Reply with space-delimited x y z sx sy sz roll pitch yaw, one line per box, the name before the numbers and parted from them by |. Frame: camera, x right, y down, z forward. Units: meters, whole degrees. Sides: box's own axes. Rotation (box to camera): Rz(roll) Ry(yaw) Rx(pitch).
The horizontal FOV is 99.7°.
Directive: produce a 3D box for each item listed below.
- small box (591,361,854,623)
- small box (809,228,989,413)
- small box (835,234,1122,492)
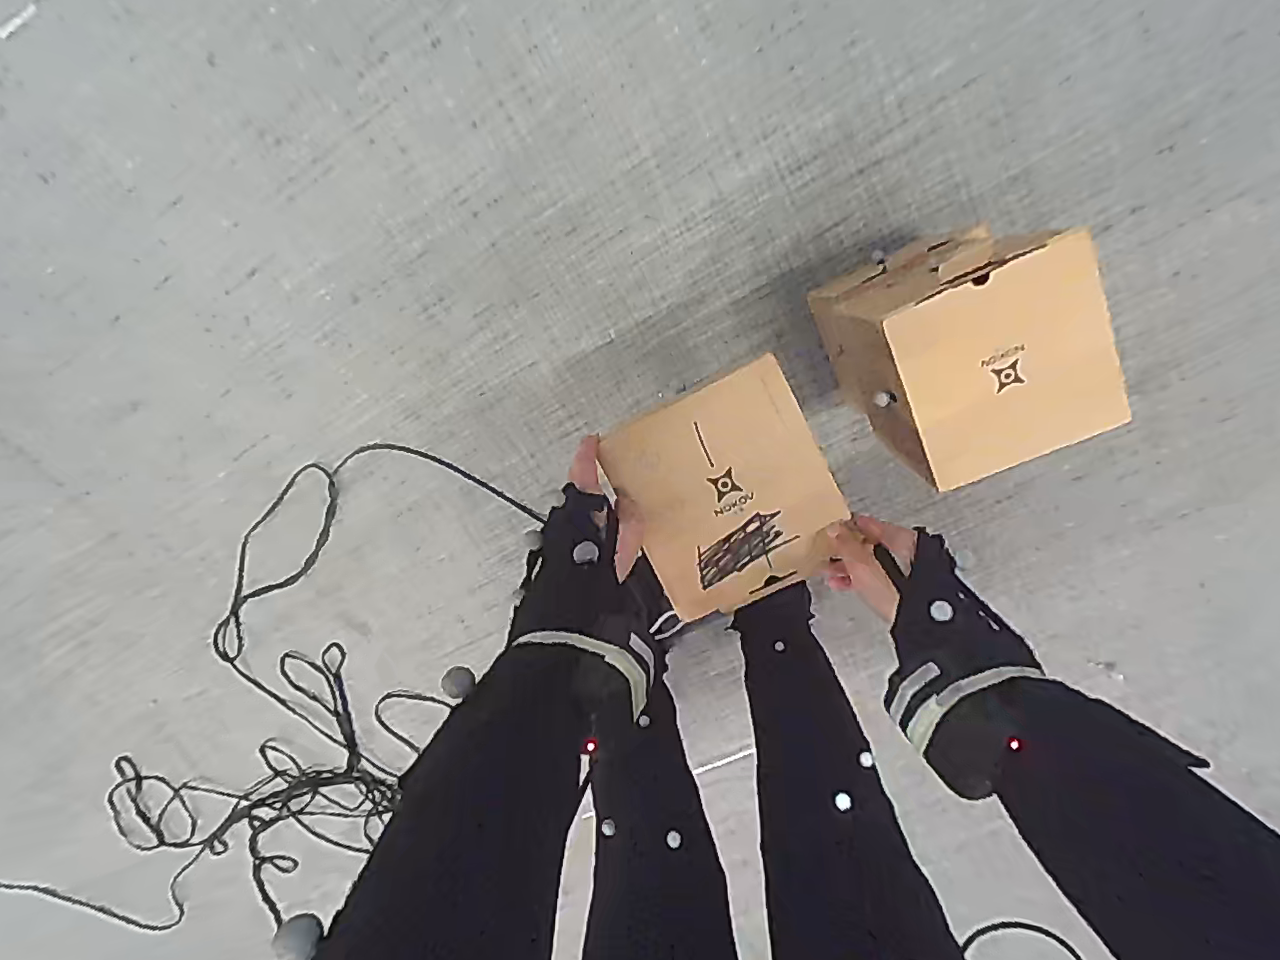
small box | 0.072 0.000 0.522 0.168 0.176 0.179 -26 97 6
small box | 0.334 -0.188 0.686 0.168 0.176 0.179 -24 105 12
small box | 0.317 -0.118 0.538 0.168 0.176 0.179 -23 105 12
